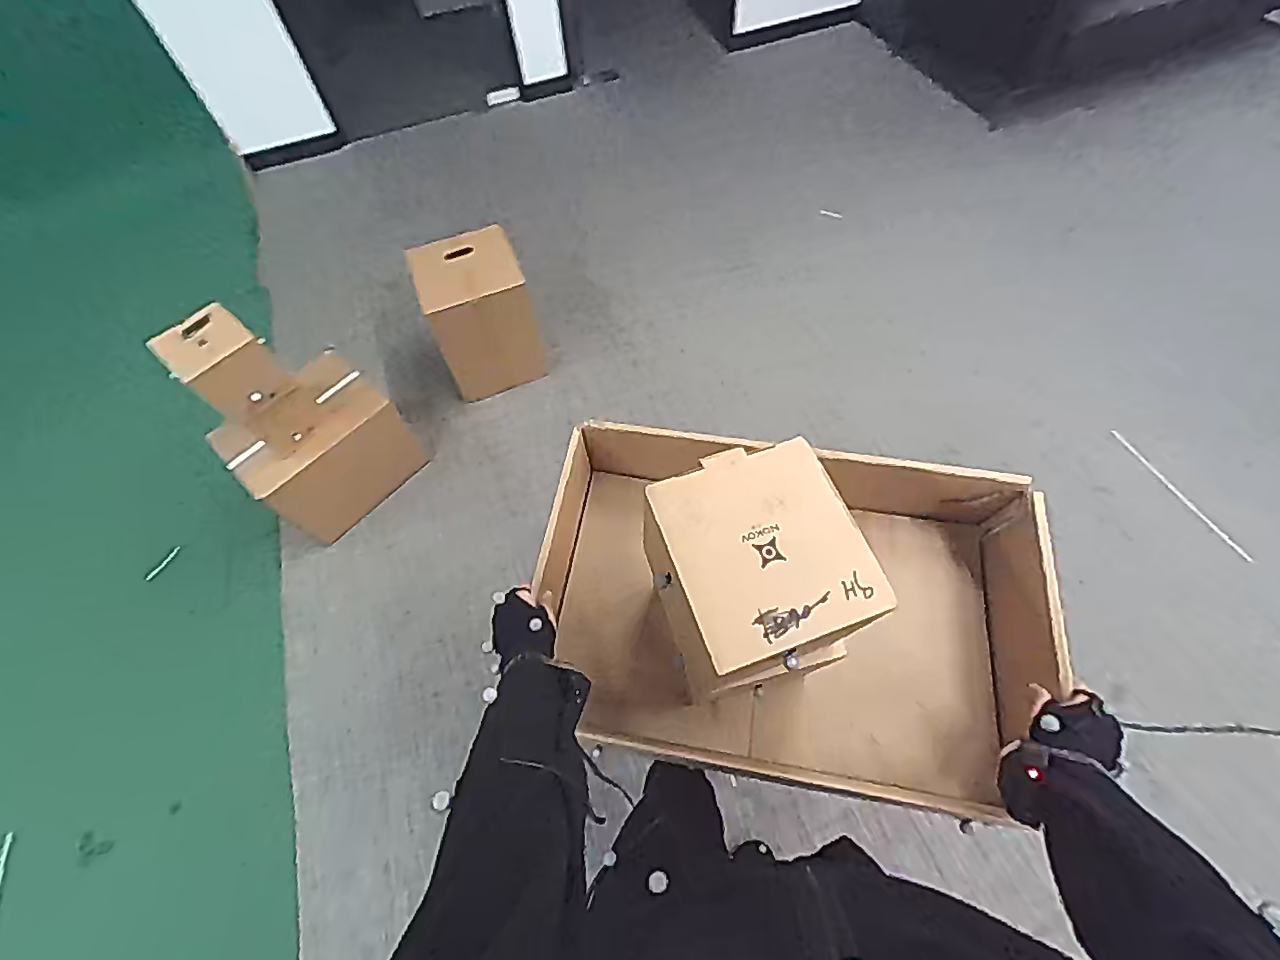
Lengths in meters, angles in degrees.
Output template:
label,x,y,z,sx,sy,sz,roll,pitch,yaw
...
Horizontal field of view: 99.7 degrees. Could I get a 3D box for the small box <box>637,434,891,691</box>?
label,x,y,z,sx,sy,sz,roll,pitch,yaw
small box,0.100,0.088,0.532,0.168,0.176,0.179,-19,65,-8

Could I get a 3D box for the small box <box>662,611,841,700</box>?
label,x,y,z,sx,sy,sz,roll,pitch,yaw
small box,0.119,0.166,0.676,0.168,0.176,0.179,-13,64,-6

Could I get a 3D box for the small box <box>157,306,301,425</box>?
label,x,y,z,sx,sy,sz,roll,pitch,yaw
small box,-0.941,-0.259,1.252,0.179,0.176,0.168,37,70,20

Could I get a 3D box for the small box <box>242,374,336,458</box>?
label,x,y,z,sx,sy,sz,roll,pitch,yaw
small box,-0.942,-0.185,1.399,0.179,0.176,0.168,32,67,19
